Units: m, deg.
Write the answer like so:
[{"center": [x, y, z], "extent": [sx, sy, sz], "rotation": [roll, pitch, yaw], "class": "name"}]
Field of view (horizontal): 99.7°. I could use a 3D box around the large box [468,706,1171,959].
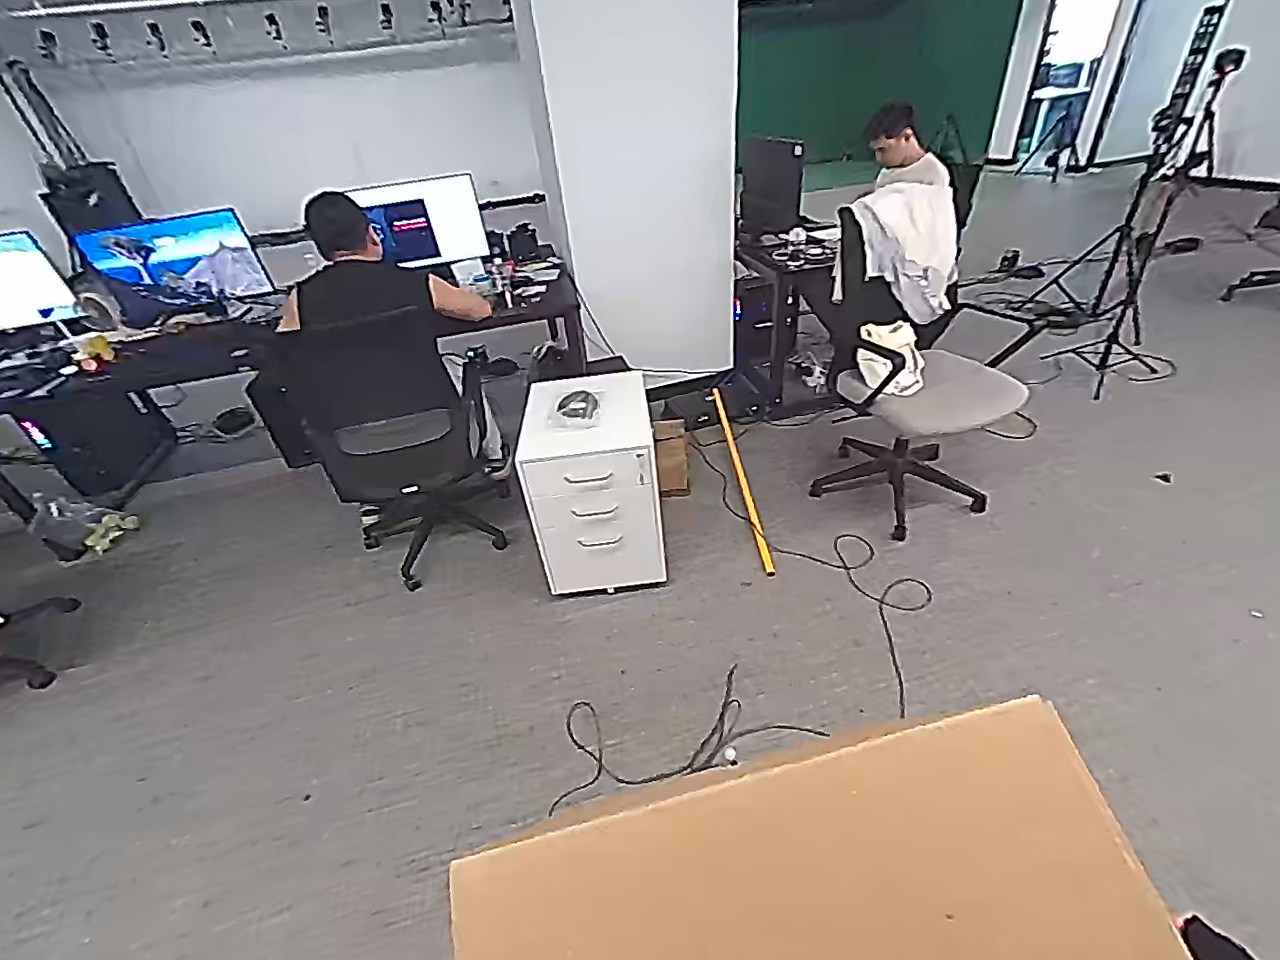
[{"center": [0.131, 0.401, 0.430], "extent": [0.408, 0.320, 0.320], "rotation": [-16, 63, 0], "class": "large box"}]
